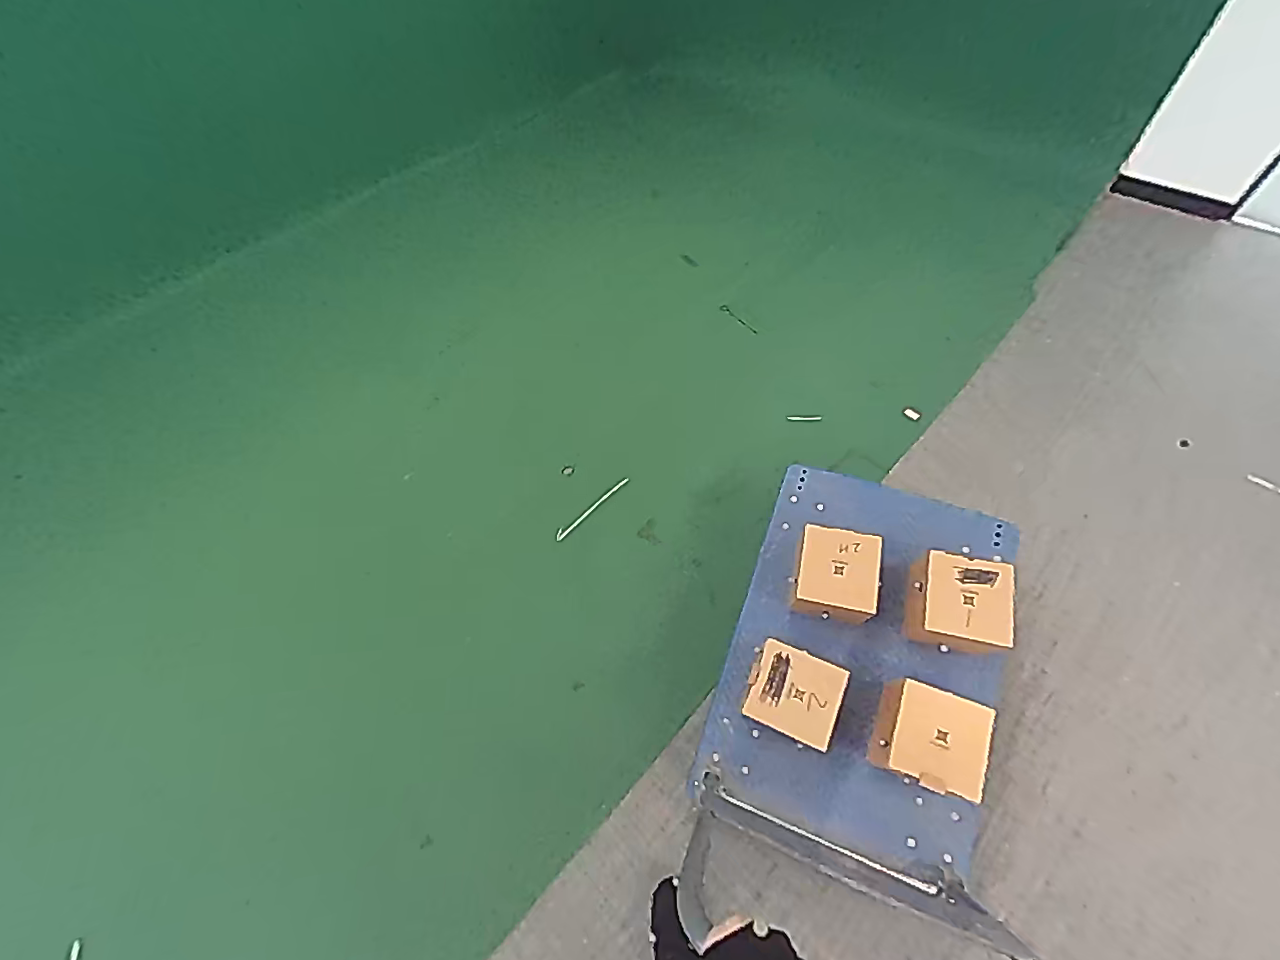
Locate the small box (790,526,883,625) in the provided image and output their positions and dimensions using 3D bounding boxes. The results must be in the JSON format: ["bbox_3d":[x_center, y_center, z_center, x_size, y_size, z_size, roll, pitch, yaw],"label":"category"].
[{"bbox_3d":[0.450,0.228,1.257,0.168,0.176,0.179,10,69,12],"label":"small box"}]

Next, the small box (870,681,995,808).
[{"bbox_3d":[0.589,0.531,1.107,0.168,0.176,0.179,18,72,16],"label":"small box"}]

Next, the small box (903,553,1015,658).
[{"bbox_3d":[0.698,0.281,1.196,0.168,0.176,0.179,11,70,14],"label":"small box"}]
